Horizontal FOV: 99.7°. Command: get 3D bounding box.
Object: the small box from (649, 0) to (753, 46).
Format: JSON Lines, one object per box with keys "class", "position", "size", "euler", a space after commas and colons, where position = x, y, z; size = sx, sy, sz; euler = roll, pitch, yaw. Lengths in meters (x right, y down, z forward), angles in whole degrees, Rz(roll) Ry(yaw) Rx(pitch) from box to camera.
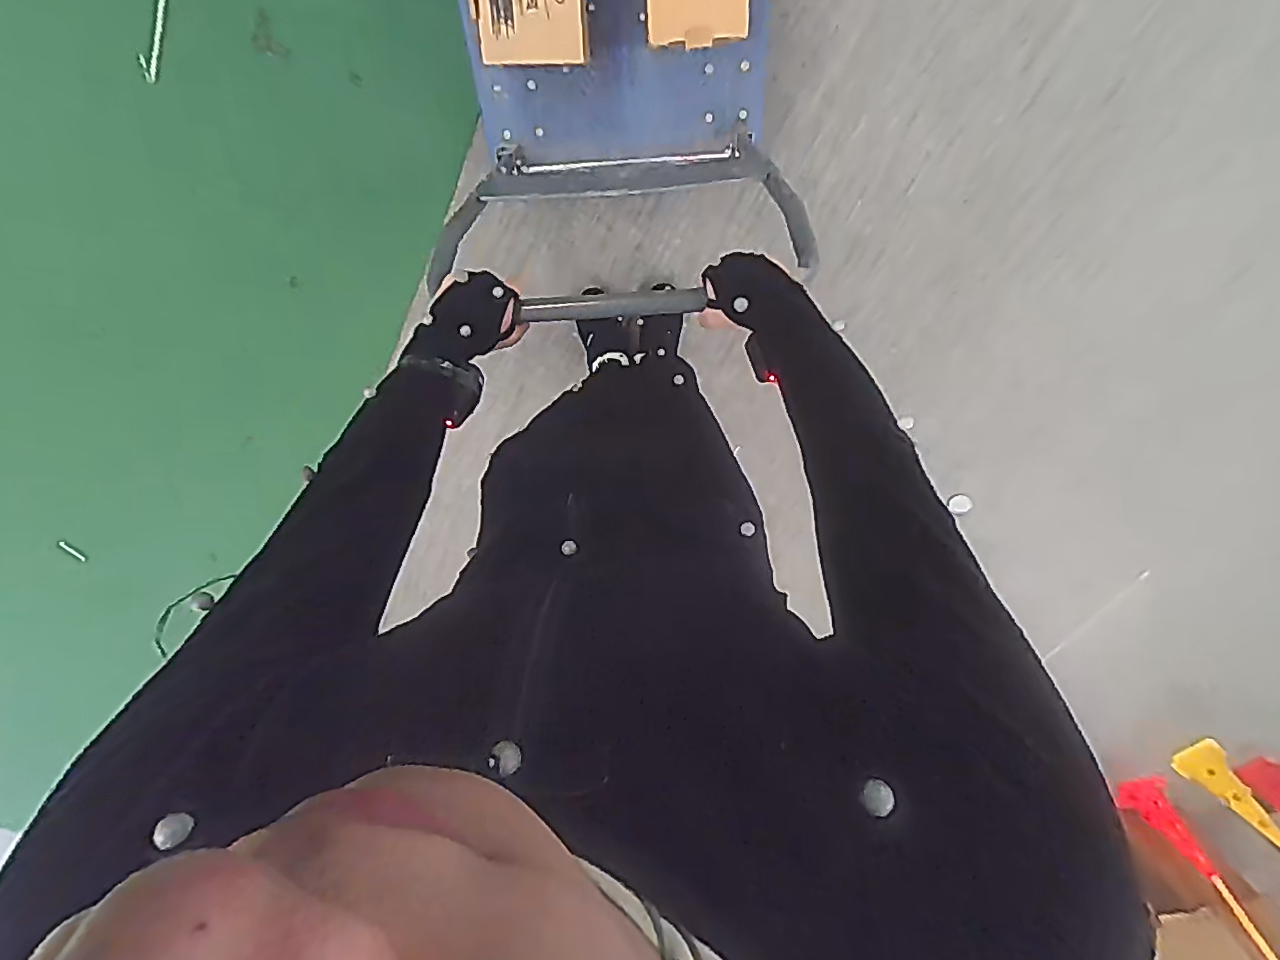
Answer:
{"class": "small box", "position": [0.097, -0.846, 0.908], "size": [0.168, 0.176, 0.179], "euler": [-3, 129, 3]}
